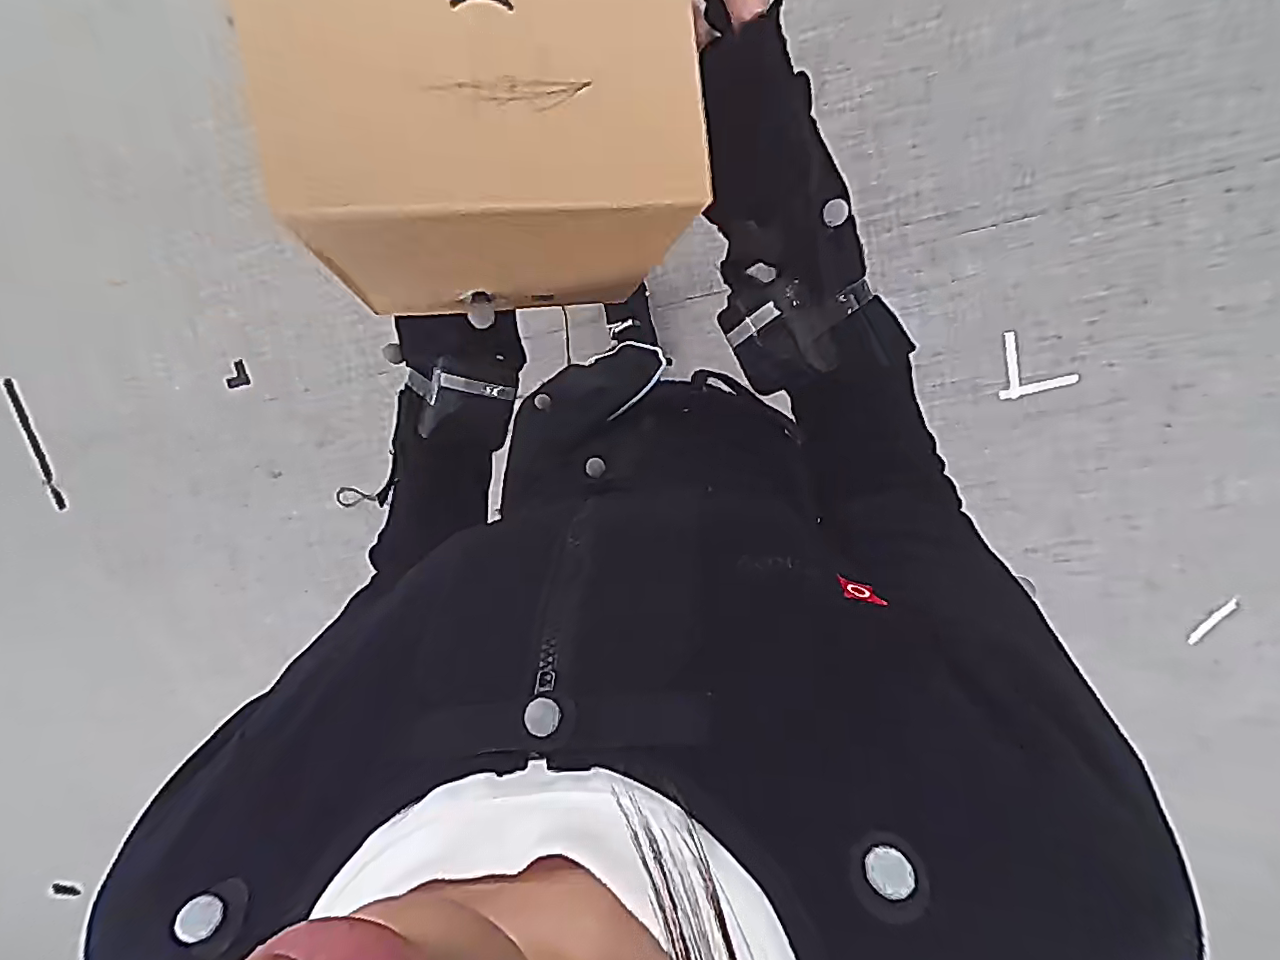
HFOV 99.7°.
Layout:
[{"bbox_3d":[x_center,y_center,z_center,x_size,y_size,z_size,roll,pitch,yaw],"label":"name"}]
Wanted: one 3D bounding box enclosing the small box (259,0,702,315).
[{"bbox_3d":[-0.080,-0.201,0.290,0.168,0.176,0.179,-9,96,-13],"label":"small box"}]
